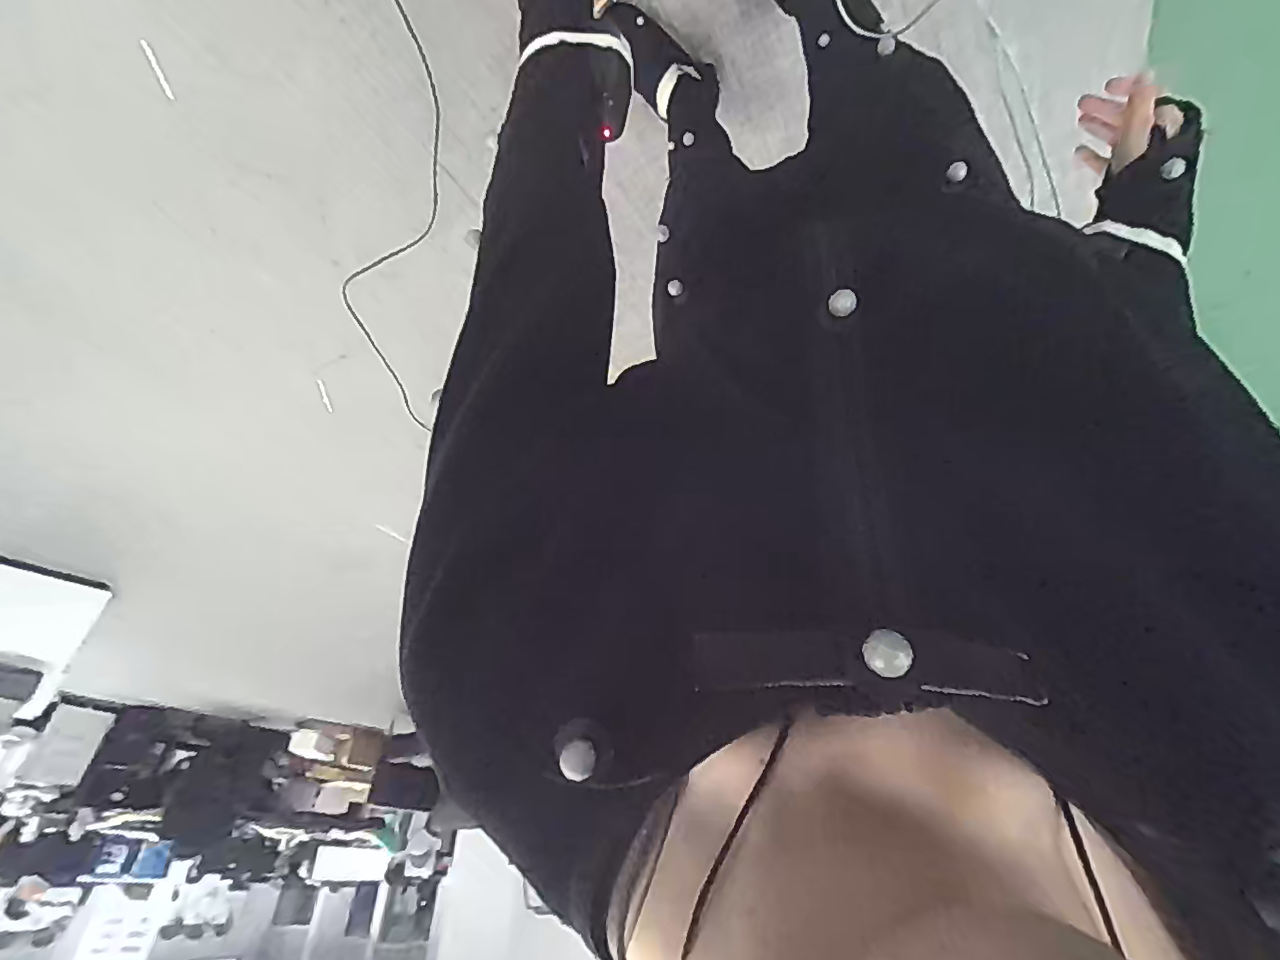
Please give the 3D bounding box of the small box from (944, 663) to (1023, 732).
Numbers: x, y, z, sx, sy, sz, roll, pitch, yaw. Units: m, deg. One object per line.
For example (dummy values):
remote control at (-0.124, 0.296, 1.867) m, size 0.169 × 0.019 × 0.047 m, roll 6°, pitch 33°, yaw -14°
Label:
small box at (1.143, 0.729, 1.810) m, size 0.179 × 0.176 × 0.168 m, roll -24°, pitch 137°, yaw 28°
